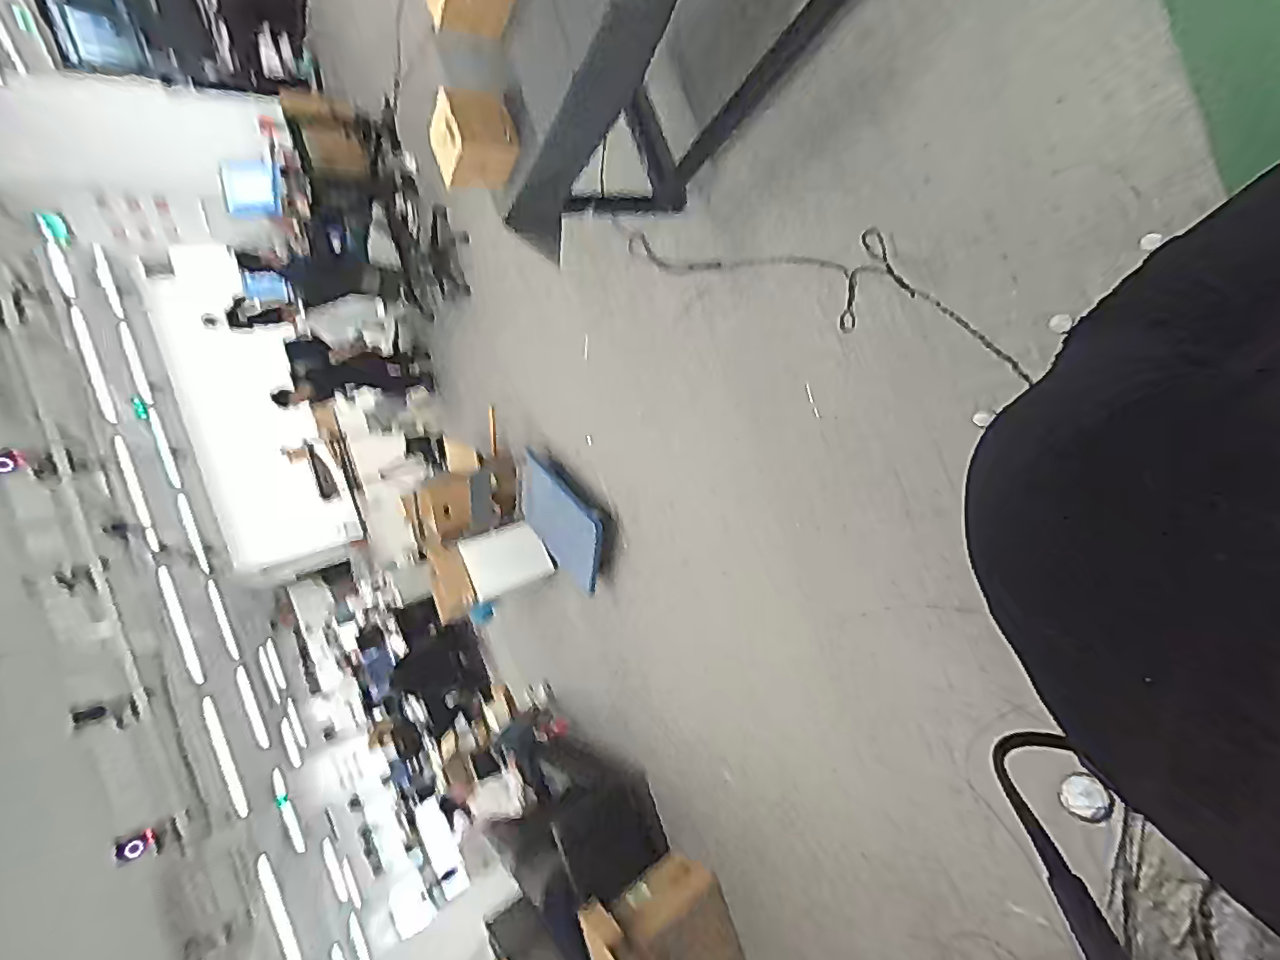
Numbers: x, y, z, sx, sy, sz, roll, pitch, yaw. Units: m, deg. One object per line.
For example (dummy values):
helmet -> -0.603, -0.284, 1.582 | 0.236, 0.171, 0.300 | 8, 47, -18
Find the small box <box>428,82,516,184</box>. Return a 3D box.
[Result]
small box -> -0.460, -0.948, 1.491 | 0.179, 0.176, 0.168 | -22, 87, 56

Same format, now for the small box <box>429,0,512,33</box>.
small box -> -0.410, -1.221, 1.286 | 0.179, 0.176, 0.168 | -18, 91, 56
